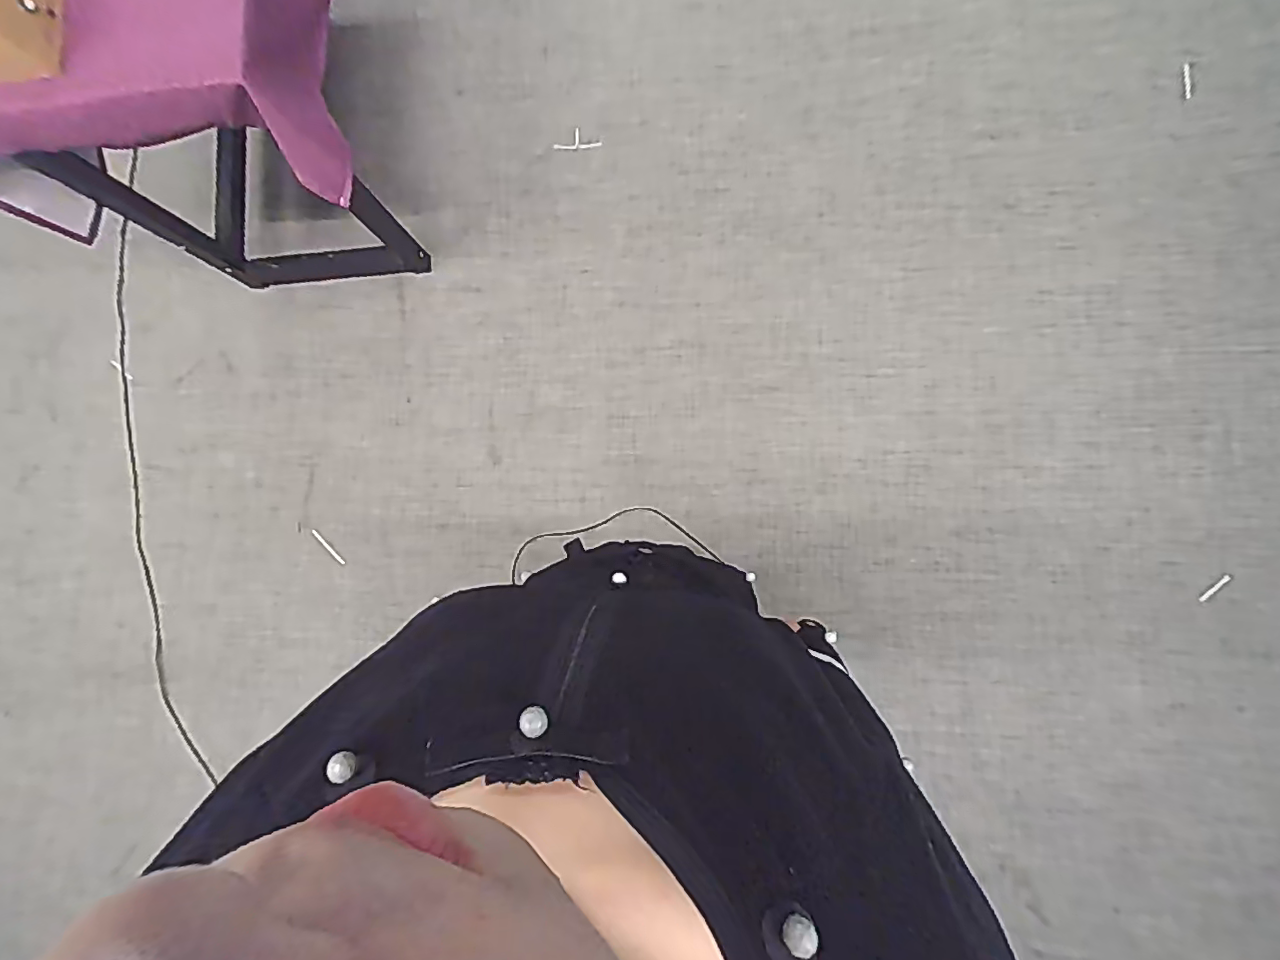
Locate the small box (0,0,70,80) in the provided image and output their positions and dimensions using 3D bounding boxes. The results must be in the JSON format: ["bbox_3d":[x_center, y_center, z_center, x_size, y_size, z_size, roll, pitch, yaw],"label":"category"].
[{"bbox_3d":[-1.090,-0.778,0.866,0.179,0.176,0.168,-3,85,4],"label":"small box"}]
